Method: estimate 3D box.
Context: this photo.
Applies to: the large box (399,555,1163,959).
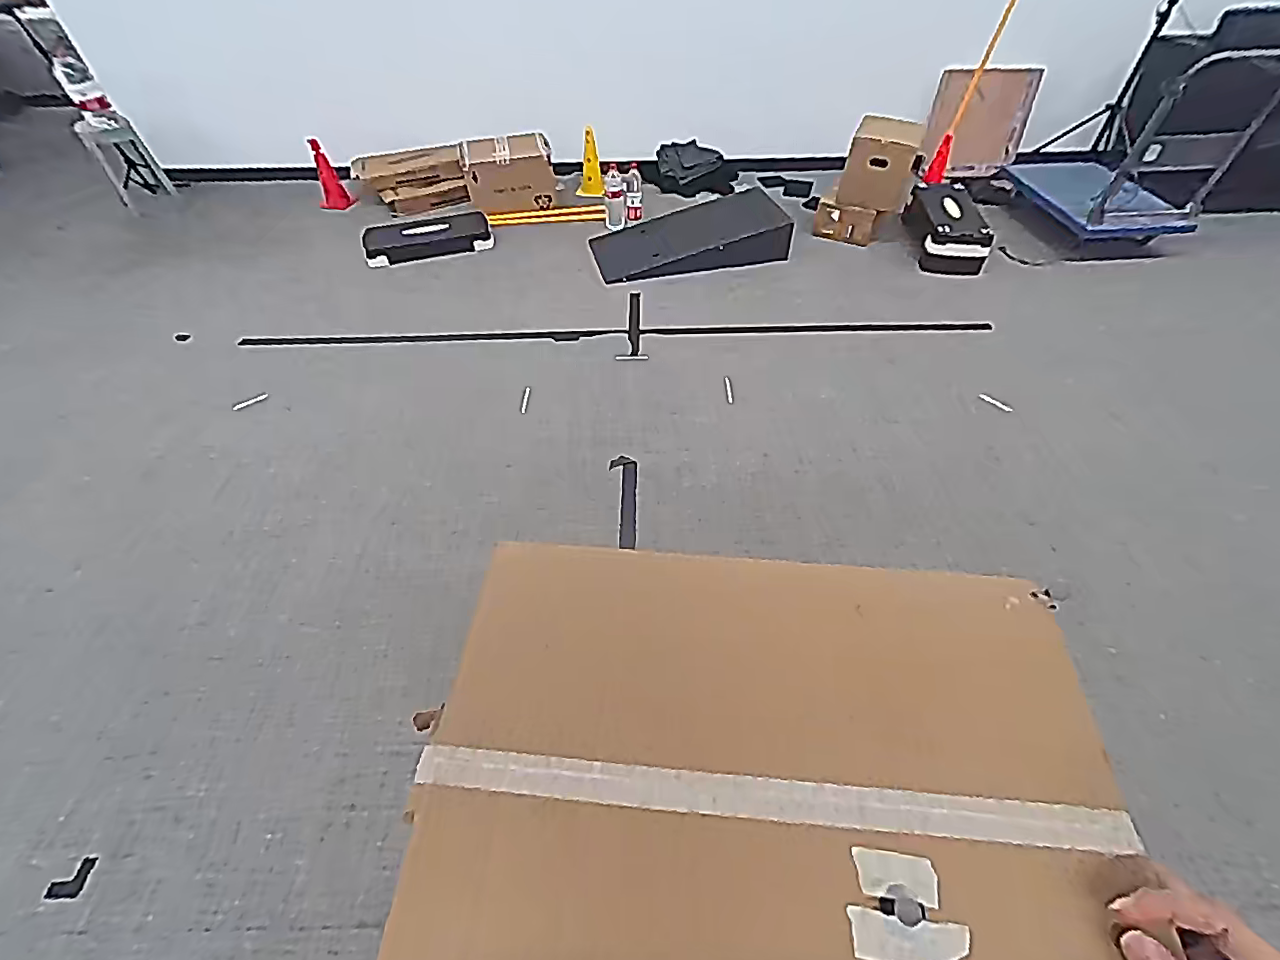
[{"bbox_3d":[0.077,0.280,0.444,0.408,0.320,0.320,4,54,3],"label":"large box"}]
